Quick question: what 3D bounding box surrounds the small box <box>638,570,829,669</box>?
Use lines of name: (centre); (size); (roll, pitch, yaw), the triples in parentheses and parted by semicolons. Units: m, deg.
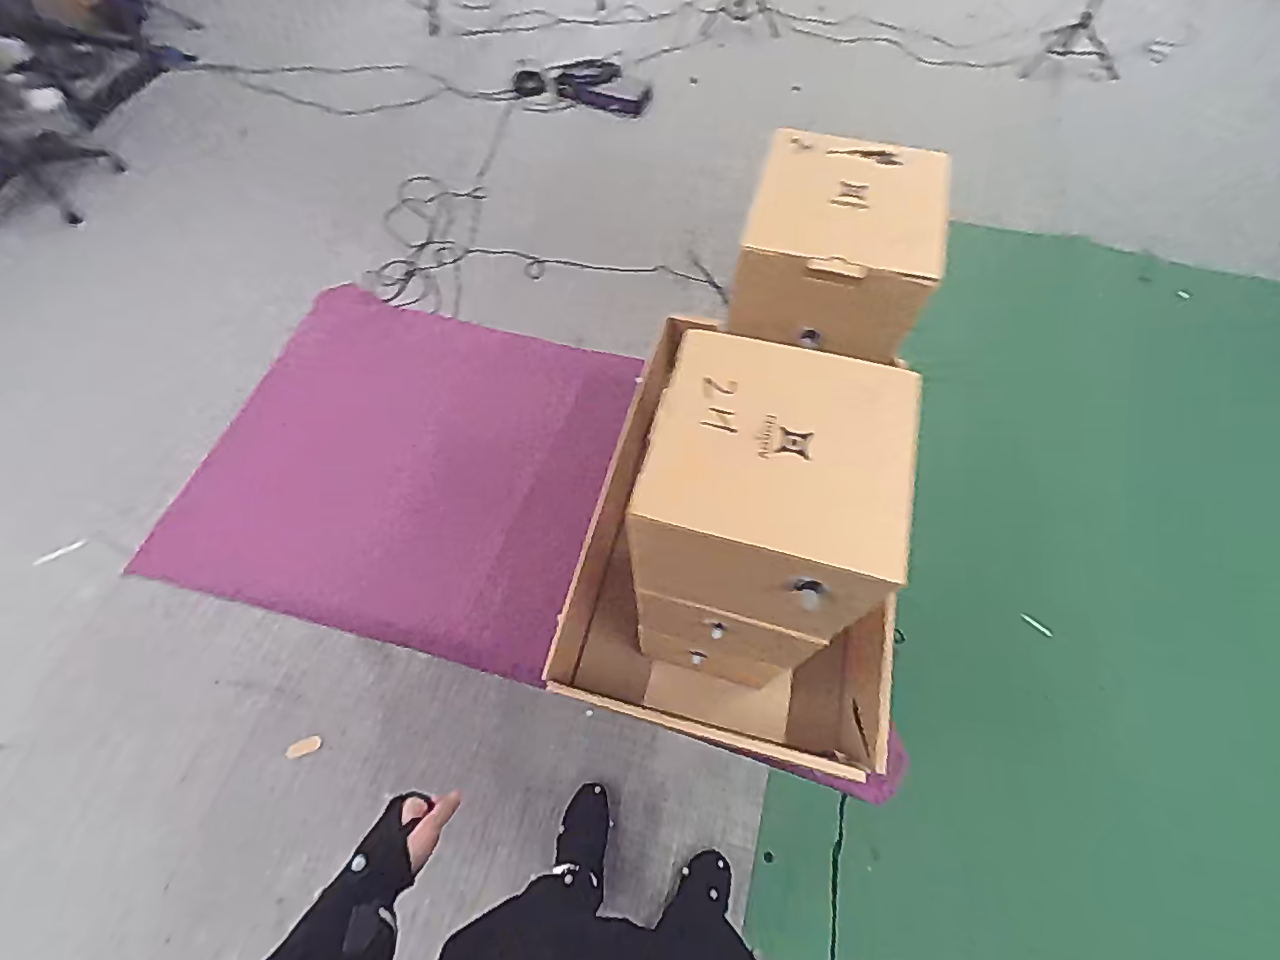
small box: (0.106, 0.091, 0.586); (0.179, 0.176, 0.168); (16, 64, 9)

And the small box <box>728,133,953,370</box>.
small box: (0.191, -0.210, 0.556); (0.168, 0.176, 0.179); (15, 65, 8)

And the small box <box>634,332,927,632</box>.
small box: (0.104, 0.012, 0.441); (0.179, 0.176, 0.168); (14, 63, 10)
